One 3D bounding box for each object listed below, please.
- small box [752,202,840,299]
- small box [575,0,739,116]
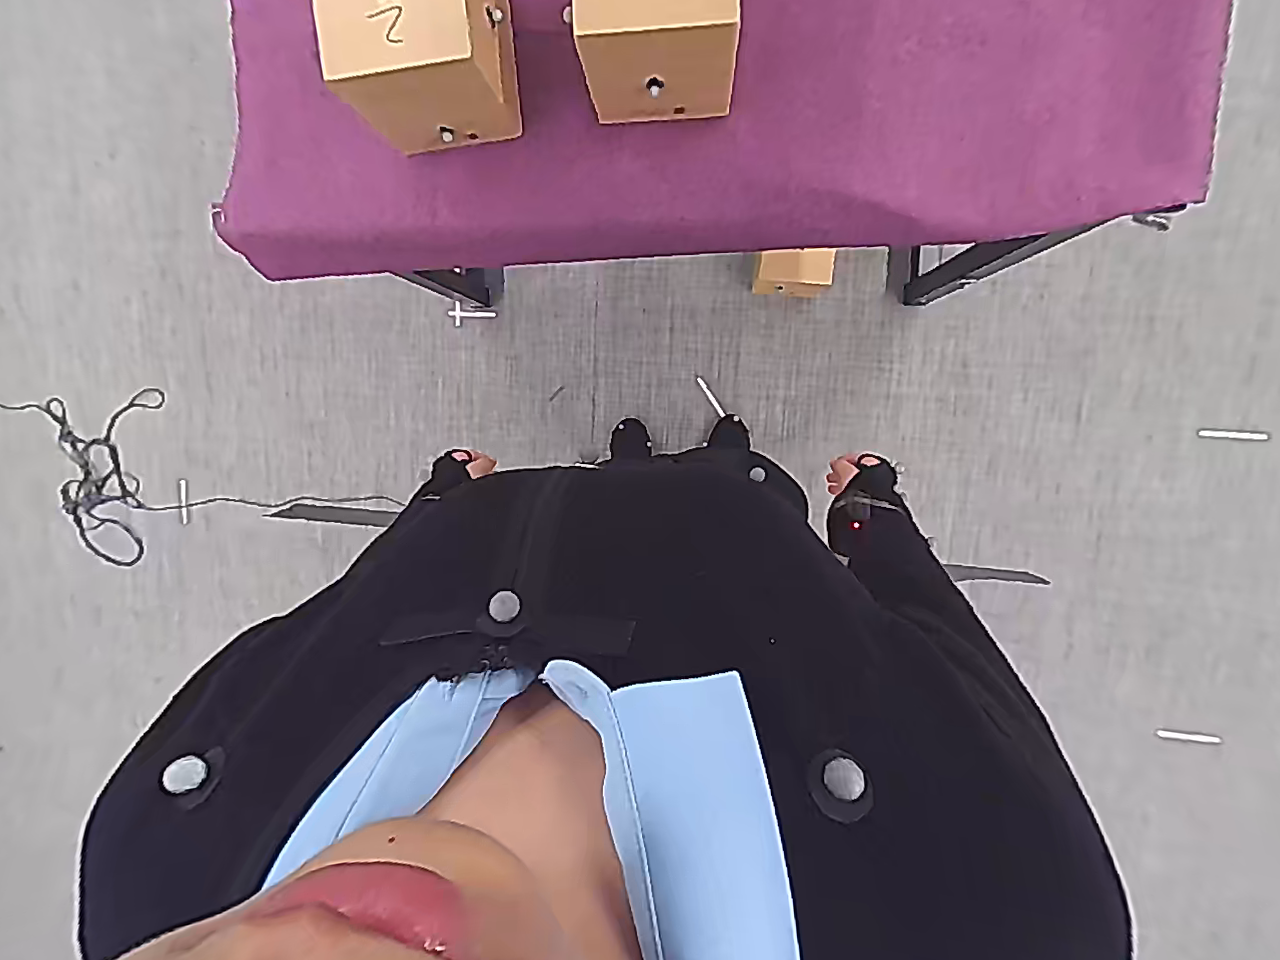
[{"bbox_3d":[0.369,-0.546,1.308,0.168,0.176,0.179,7,97,5],"label":"small box"},{"bbox_3d":[0.025,-0.536,0.602,0.168,0.176,0.179,1,96,4],"label":"small box"}]
